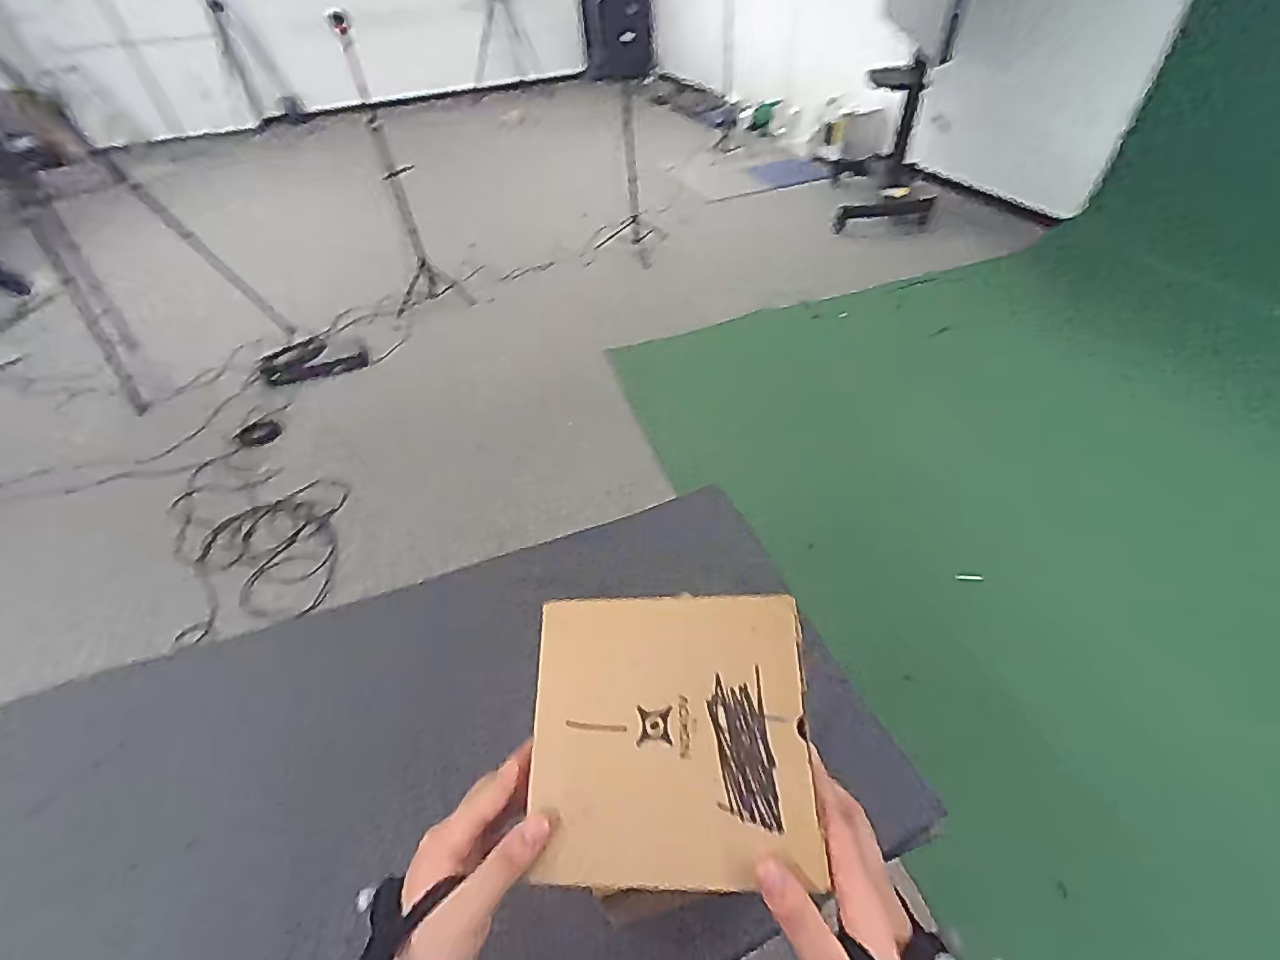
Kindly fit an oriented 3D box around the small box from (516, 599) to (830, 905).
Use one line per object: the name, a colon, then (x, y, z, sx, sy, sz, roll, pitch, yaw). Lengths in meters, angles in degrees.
small box: (0.026, 0.188, 0.401, 0.179, 0.176, 0.168, -2, 64, 7)
